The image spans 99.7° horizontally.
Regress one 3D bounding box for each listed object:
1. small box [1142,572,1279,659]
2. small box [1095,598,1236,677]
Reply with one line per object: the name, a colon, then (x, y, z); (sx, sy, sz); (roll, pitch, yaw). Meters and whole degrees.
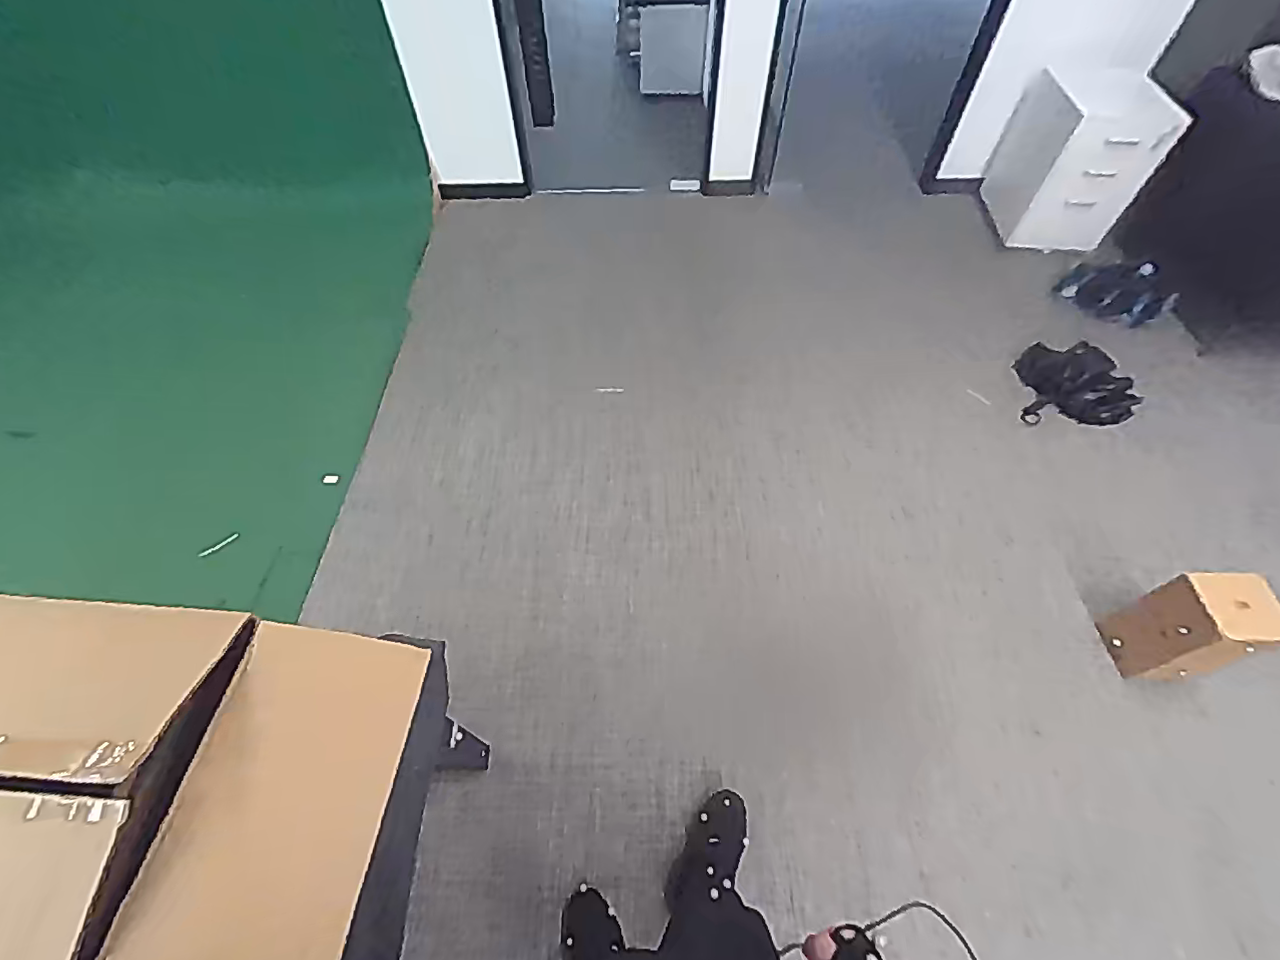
small box: (1.391, 0.333, 1.317); (0.179, 0.176, 0.168); (1, 57, -1)
small box: (1.396, 0.424, 1.451); (0.179, 0.176, 0.168); (-1, 56, 0)
